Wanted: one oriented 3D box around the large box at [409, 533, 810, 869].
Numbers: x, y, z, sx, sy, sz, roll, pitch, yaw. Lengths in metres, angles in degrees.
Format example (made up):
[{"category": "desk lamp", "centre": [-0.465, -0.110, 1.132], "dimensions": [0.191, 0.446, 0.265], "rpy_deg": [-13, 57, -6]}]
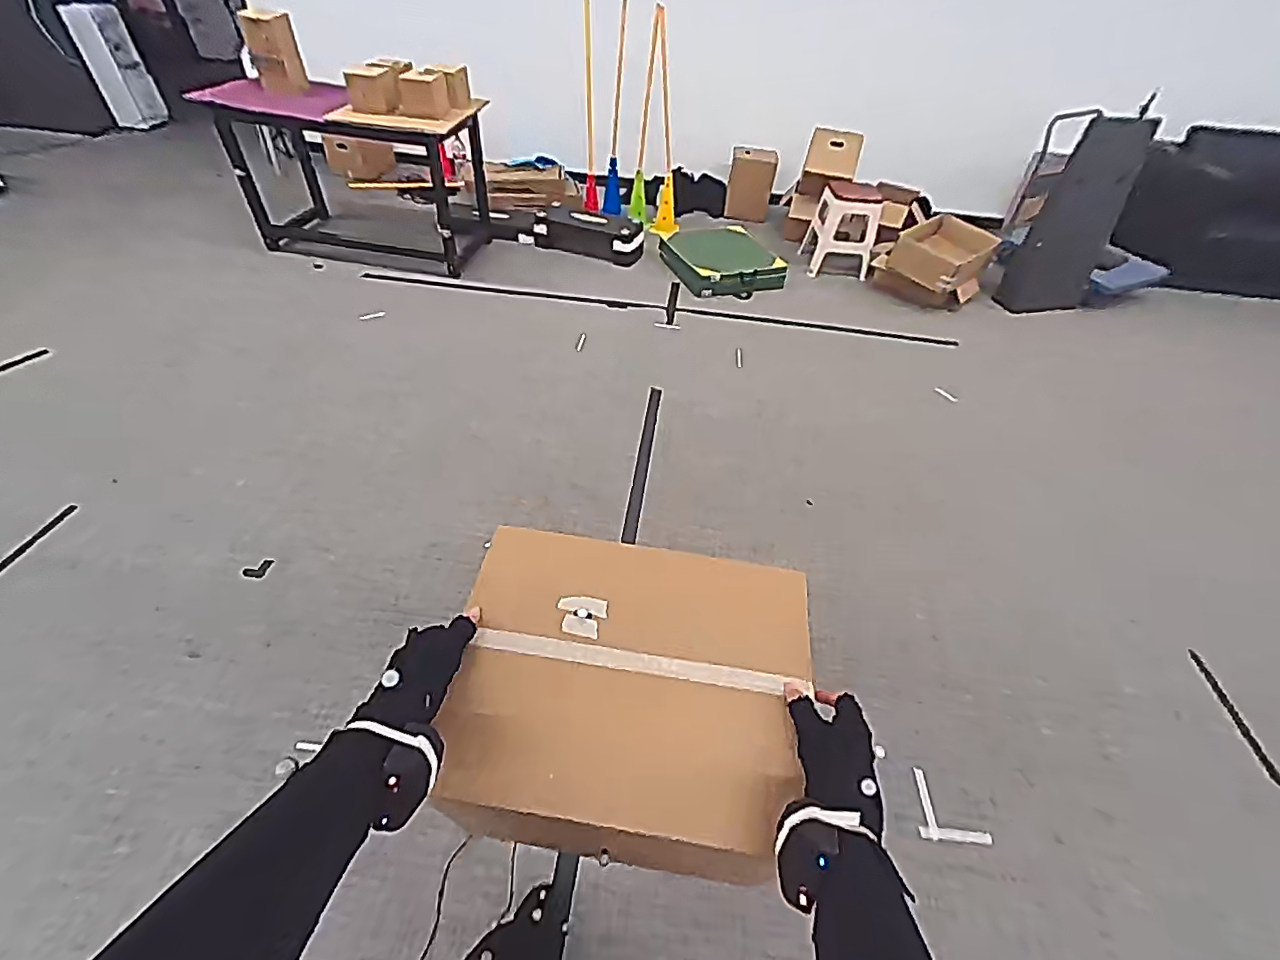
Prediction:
[{"category": "large box", "centre": [-0.019, 0.304, 0.732], "dimensions": [0.408, 0.320, 0.320], "rpy_deg": [8, 49, 3]}]
